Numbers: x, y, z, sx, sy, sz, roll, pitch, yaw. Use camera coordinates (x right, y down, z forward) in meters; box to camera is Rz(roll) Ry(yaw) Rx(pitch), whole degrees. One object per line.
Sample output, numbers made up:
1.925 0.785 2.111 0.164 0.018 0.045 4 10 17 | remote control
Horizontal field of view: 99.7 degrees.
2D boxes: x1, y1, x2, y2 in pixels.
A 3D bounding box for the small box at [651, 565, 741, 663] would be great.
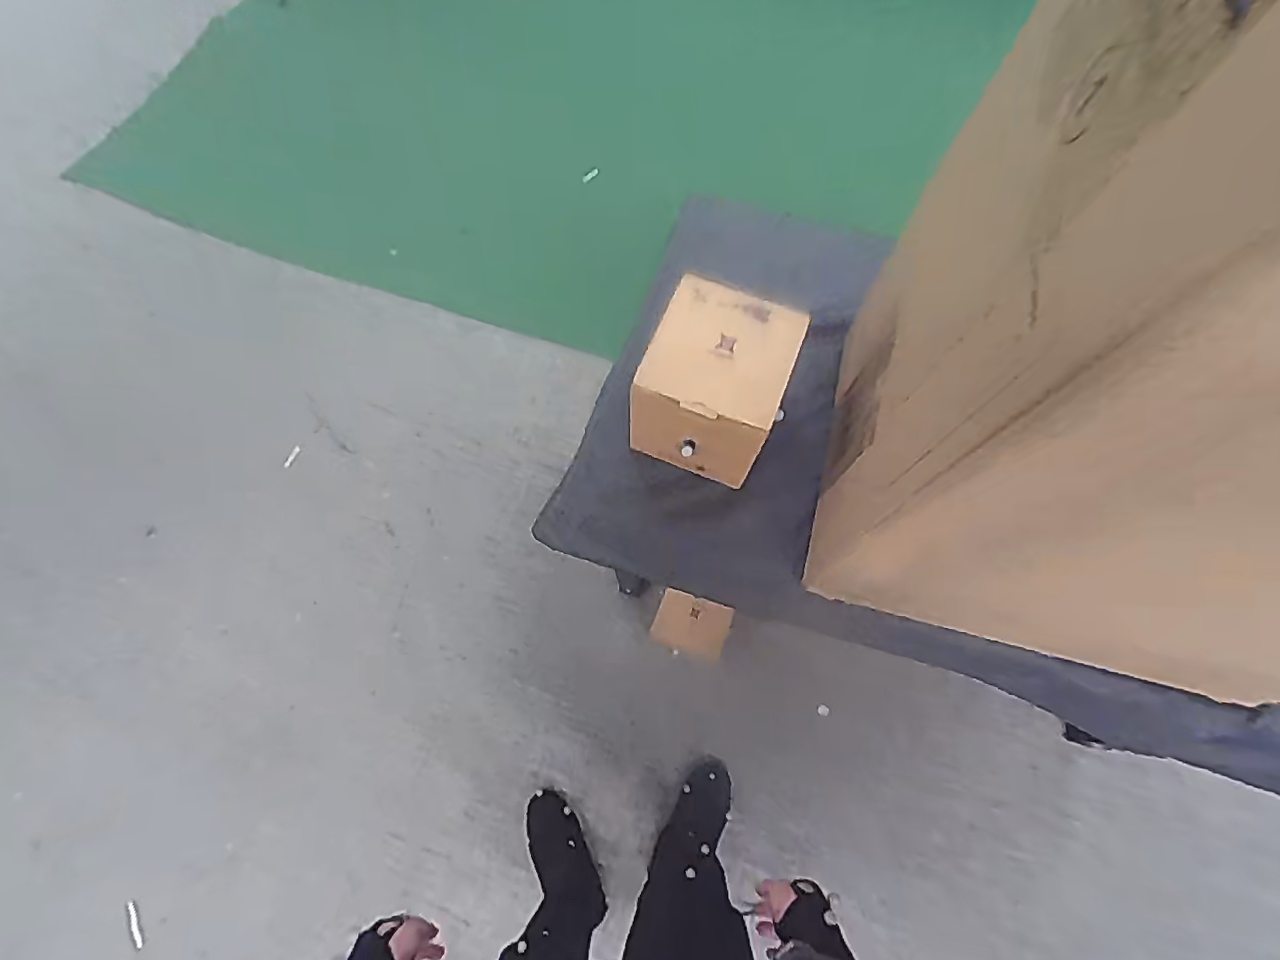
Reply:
0.130 0.332 1.323 0.168 0.176 0.179 21 72 9 | small box
